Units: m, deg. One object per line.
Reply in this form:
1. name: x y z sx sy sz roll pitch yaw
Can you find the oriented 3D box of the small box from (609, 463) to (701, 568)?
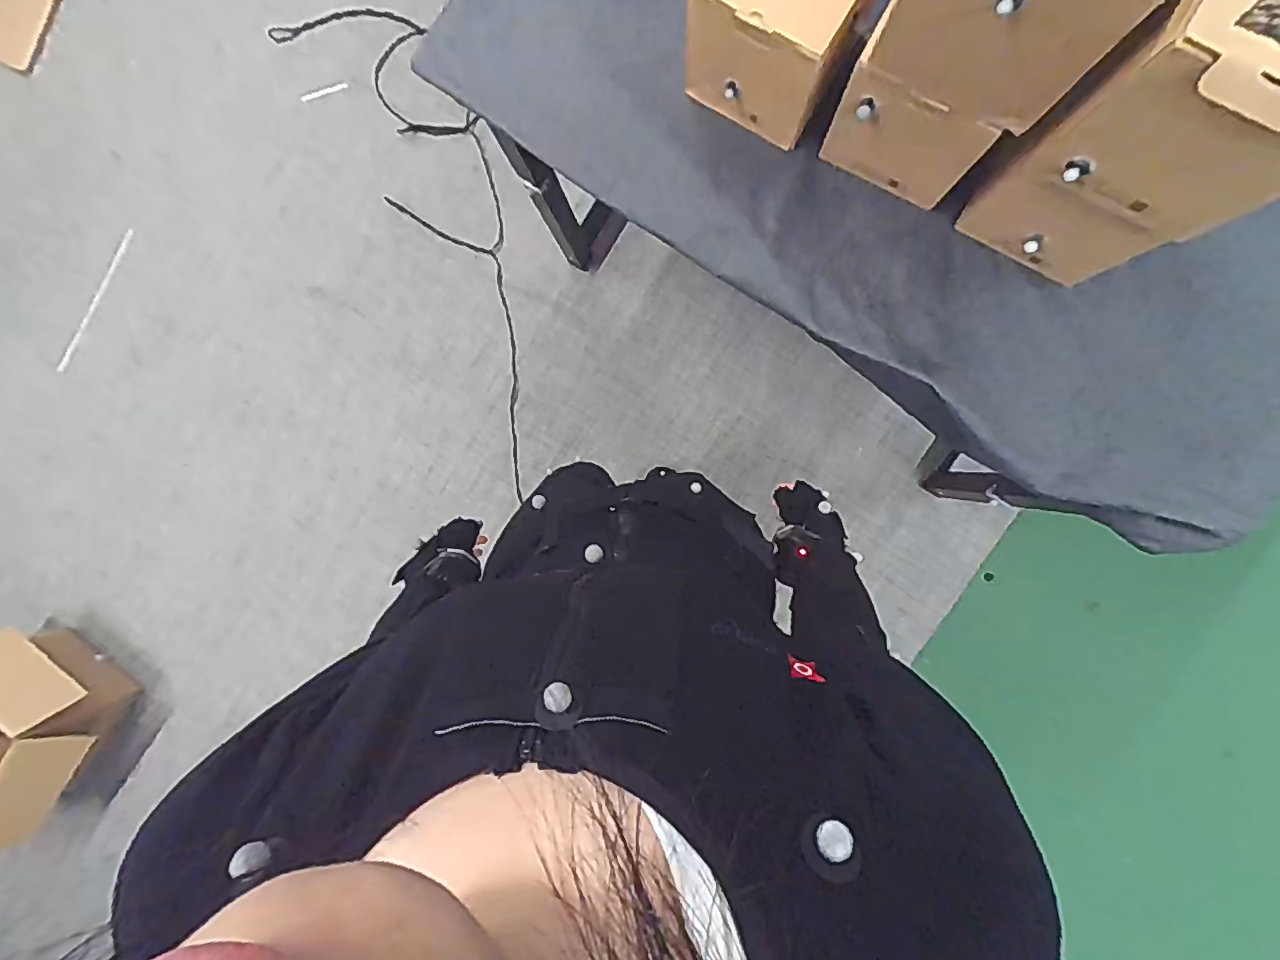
1. small box: 0.039 0.095 1.409 0.179 0.176 0.168 -33 59 -17
